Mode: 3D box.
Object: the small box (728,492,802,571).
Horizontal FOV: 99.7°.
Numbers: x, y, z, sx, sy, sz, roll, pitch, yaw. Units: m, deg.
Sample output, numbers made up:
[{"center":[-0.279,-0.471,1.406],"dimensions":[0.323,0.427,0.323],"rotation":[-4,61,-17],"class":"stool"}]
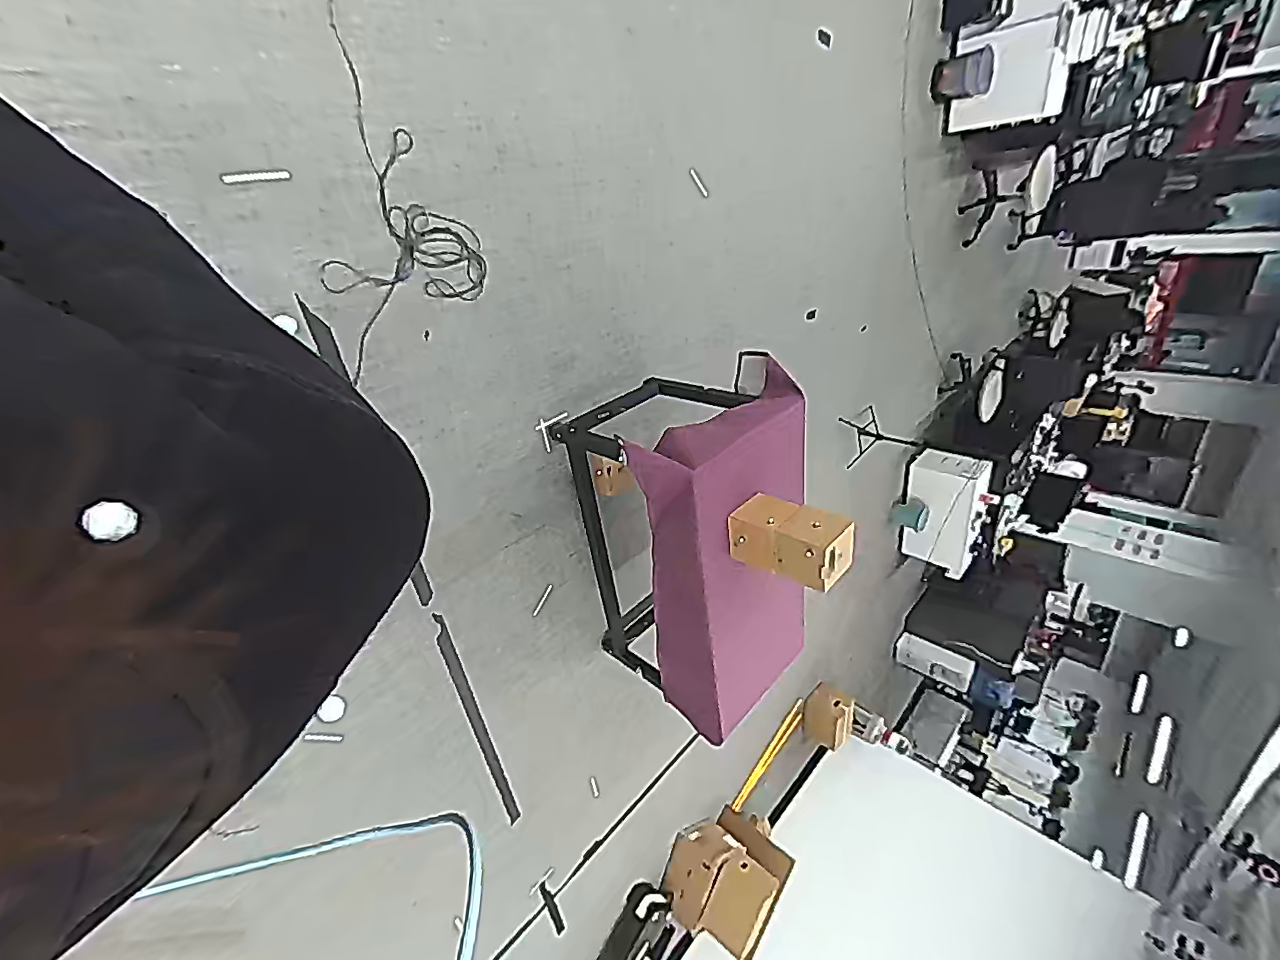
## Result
[{"center":[0.404,0.159,1.753],"dimensions":[0.179,0.176,0.168],"rotation":[-32,126,-34],"class":"small box"}]
